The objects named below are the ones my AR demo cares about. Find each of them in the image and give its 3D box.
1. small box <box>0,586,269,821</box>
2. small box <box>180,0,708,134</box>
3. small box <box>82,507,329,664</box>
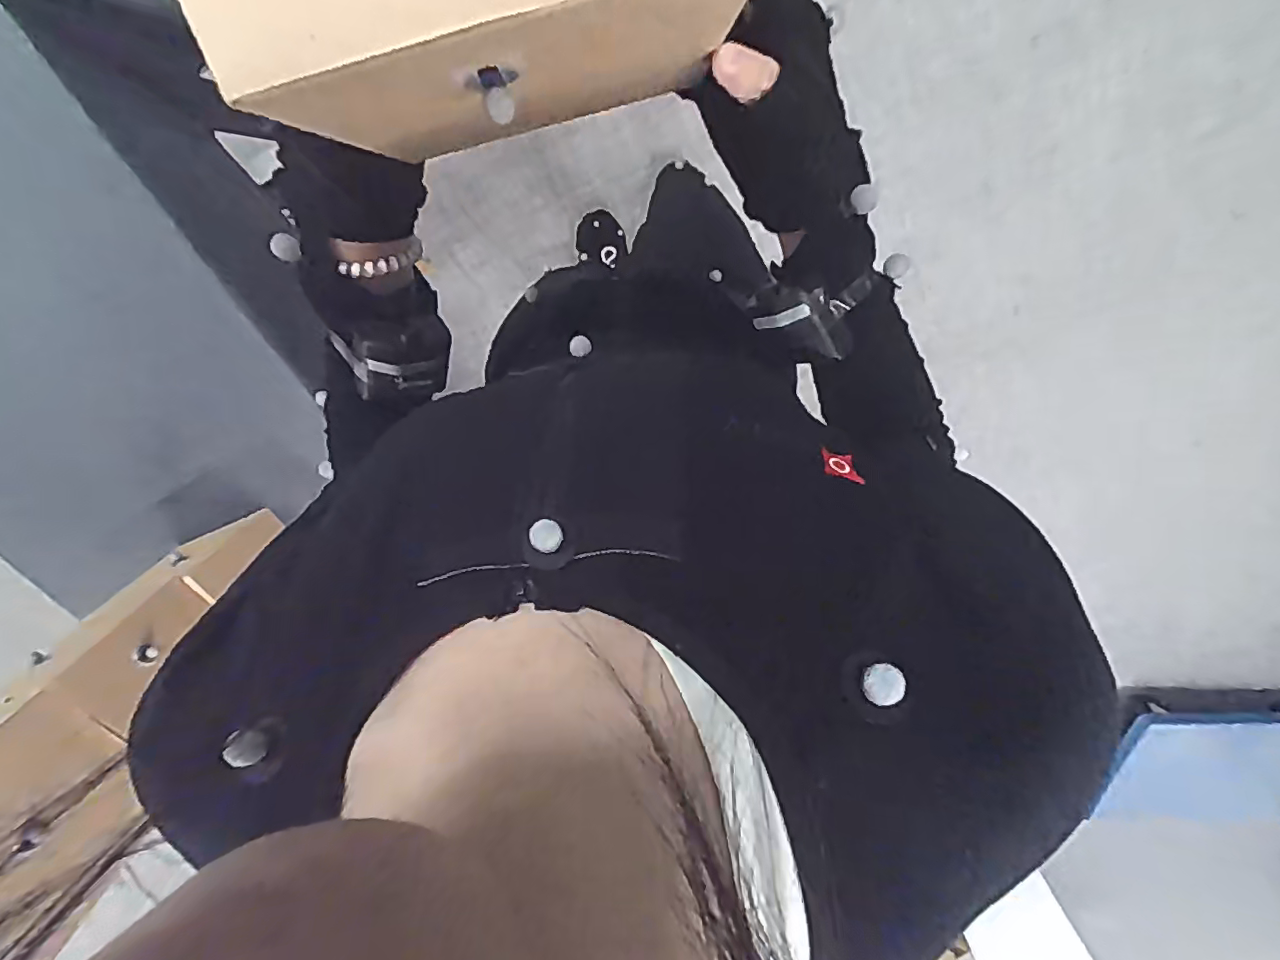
[{"bbox_3d":[-0.595,0.246,0.628,0.168,0.176,0.179,-23,115,12],"label":"small box"},{"bbox_3d":[-0.066,-0.249,0.197,0.179,0.176,0.168,-13,115,3],"label":"small box"},{"bbox_3d":[-0.596,0.167,0.770,0.179,0.176,0.168,-22,116,9],"label":"small box"}]
